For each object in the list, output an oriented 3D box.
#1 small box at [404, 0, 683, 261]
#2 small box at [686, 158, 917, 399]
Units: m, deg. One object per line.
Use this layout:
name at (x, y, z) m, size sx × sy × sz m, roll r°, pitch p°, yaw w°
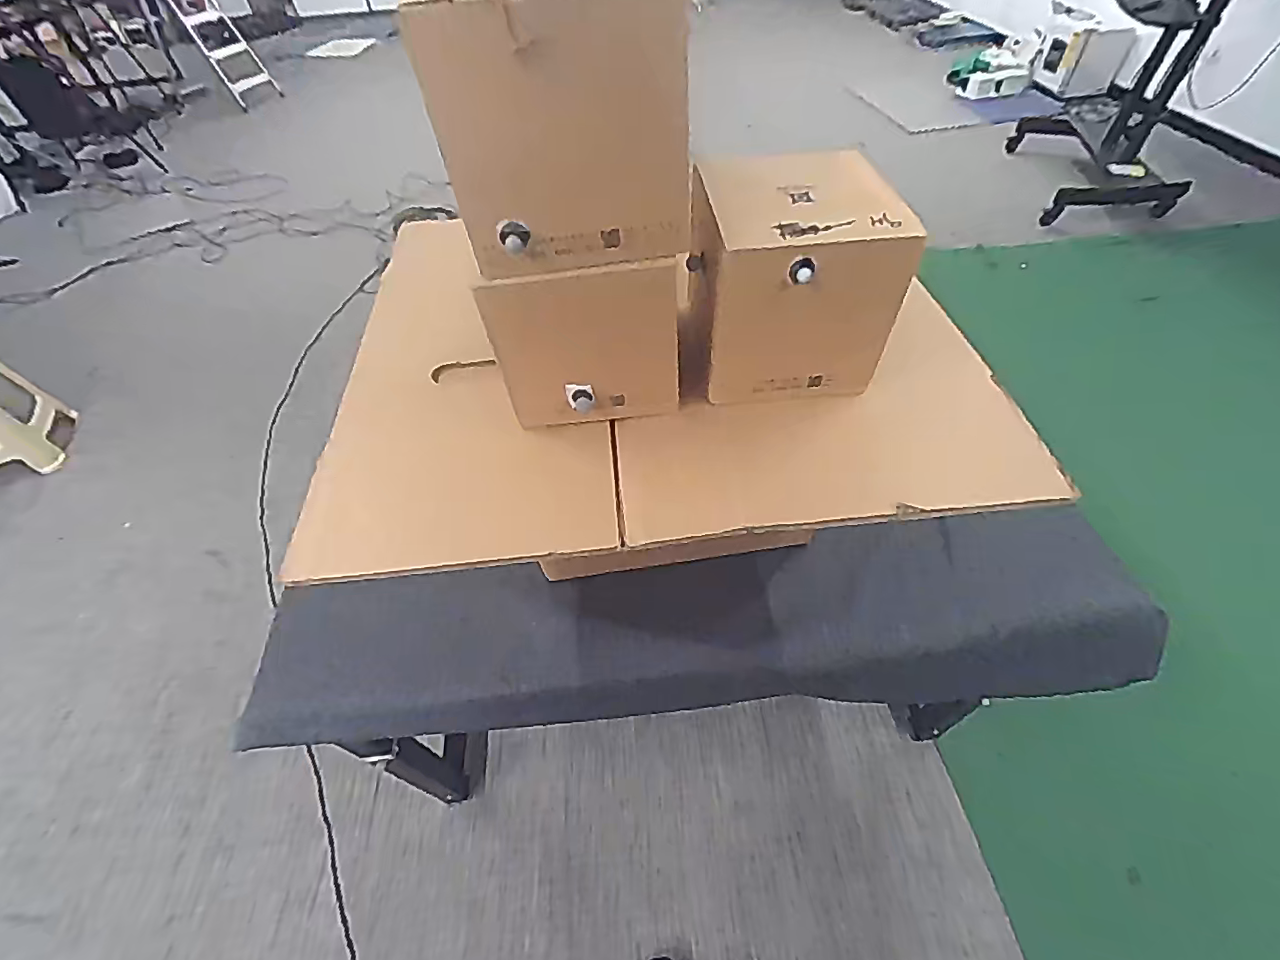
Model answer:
small box at (-0.059, -0.289, 0.426) m, size 0.168 × 0.176 × 0.179 m, roll -7°, pitch 50°, yaw 0°
small box at (0.141, -0.204, 0.552) m, size 0.168 × 0.176 × 0.179 m, roll -4°, pitch 50°, yaw -2°
